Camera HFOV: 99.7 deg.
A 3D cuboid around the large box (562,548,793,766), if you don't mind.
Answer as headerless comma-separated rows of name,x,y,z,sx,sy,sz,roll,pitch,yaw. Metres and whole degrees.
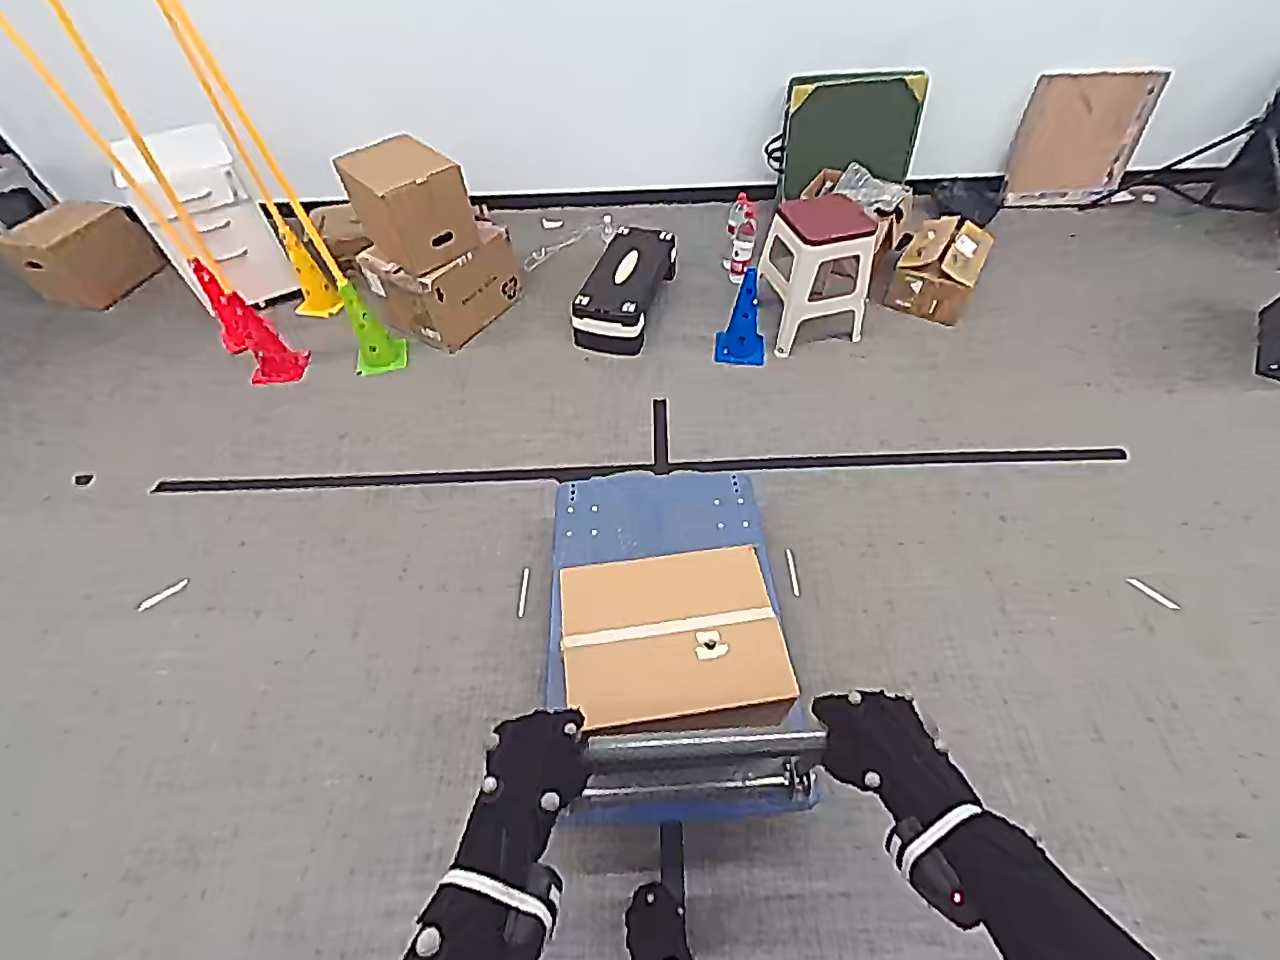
large box,0.057,0.379,1.152,0.408,0.320,0.320,-7,52,-5
